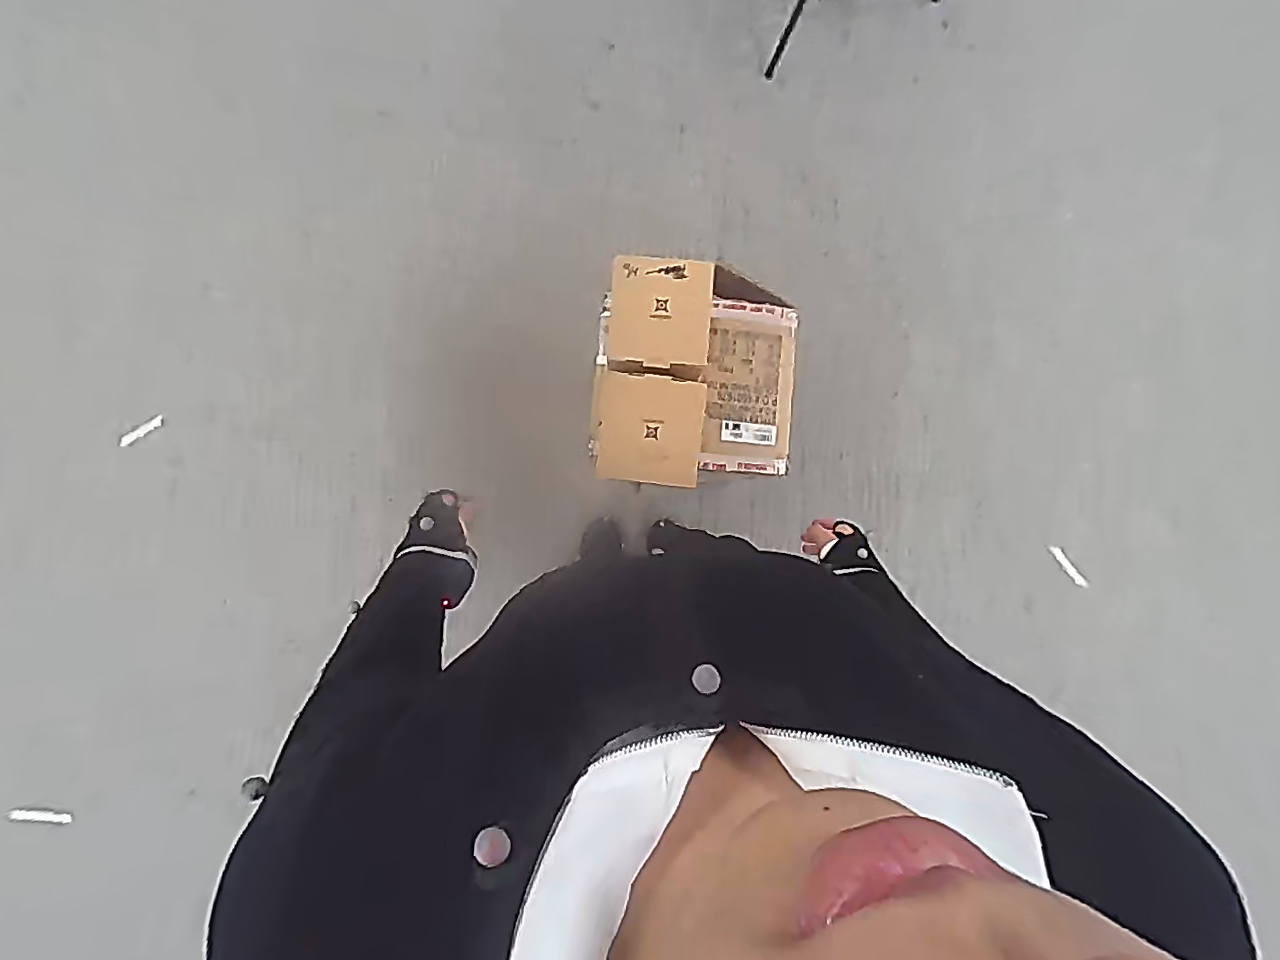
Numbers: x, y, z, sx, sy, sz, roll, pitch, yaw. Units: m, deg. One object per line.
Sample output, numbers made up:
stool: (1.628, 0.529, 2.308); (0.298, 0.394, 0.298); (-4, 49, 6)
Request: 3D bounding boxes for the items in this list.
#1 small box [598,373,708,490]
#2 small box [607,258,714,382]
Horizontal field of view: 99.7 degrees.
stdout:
small box: (0.019, -0.078, 0.956); (0.168, 0.176, 0.179); (6, 90, -1)
small box: (0.033, -0.270, 0.958); (0.168, 0.176, 0.179); (4, 91, -1)
